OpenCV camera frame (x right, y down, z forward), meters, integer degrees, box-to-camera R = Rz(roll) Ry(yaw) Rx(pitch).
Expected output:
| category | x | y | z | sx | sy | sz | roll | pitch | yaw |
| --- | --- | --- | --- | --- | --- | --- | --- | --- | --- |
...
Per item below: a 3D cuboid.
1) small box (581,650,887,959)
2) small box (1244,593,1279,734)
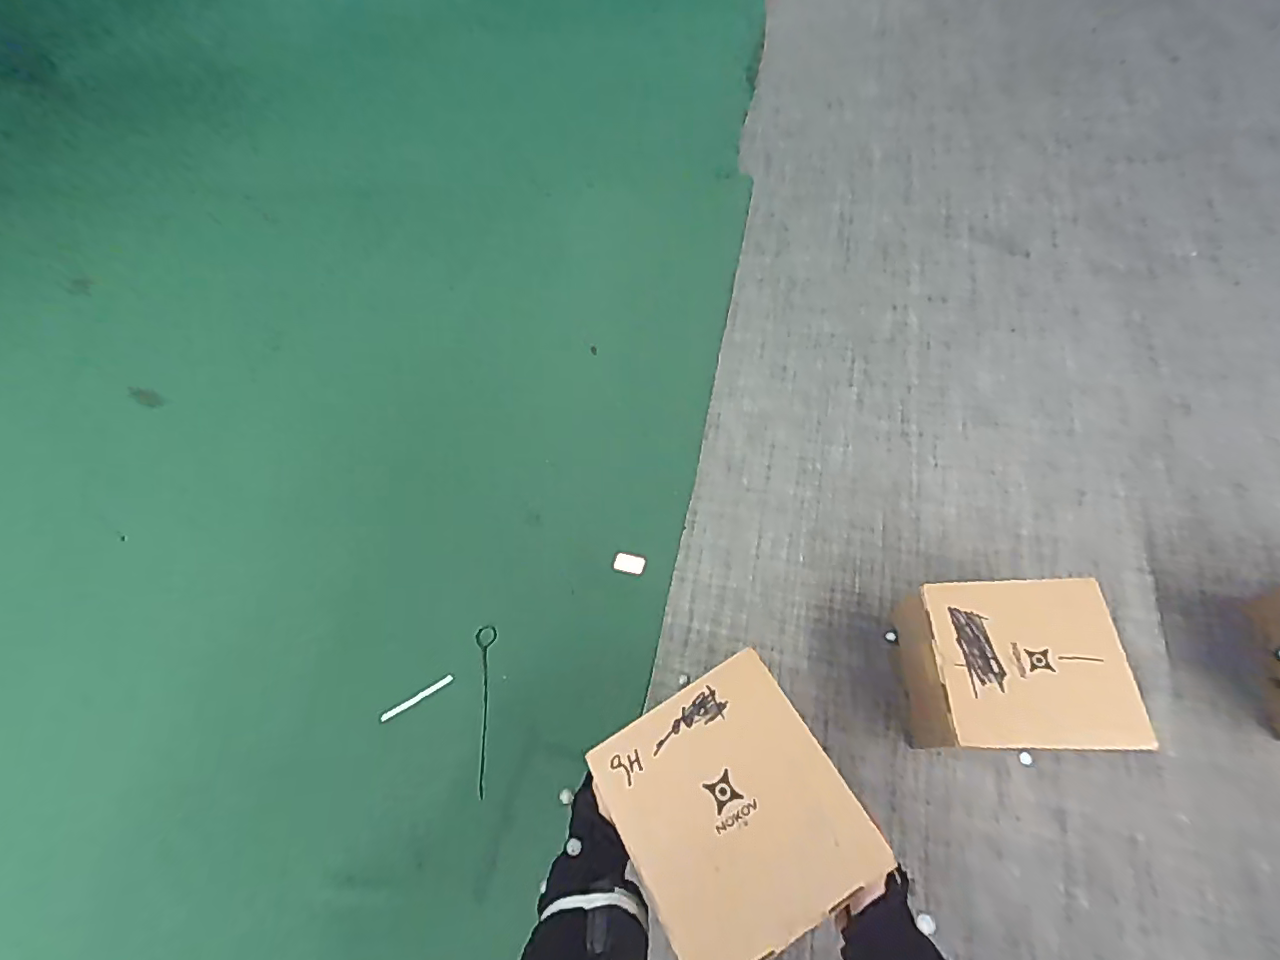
| category | x | y | z | sx | sy | sz | roll | pitch | yaw |
| --- | --- | --- | --- | --- | --- | --- | --- | --- | --- |
| small box | 0.076 | 0.278 | 0.475 | 0.168 | 0.176 | 0.179 | -31 | 62 | -6 |
| small box | 0.796 | 0.192 | 0.546 | 0.179 | 0.176 | 0.168 | 7 | 65 | 17 |
